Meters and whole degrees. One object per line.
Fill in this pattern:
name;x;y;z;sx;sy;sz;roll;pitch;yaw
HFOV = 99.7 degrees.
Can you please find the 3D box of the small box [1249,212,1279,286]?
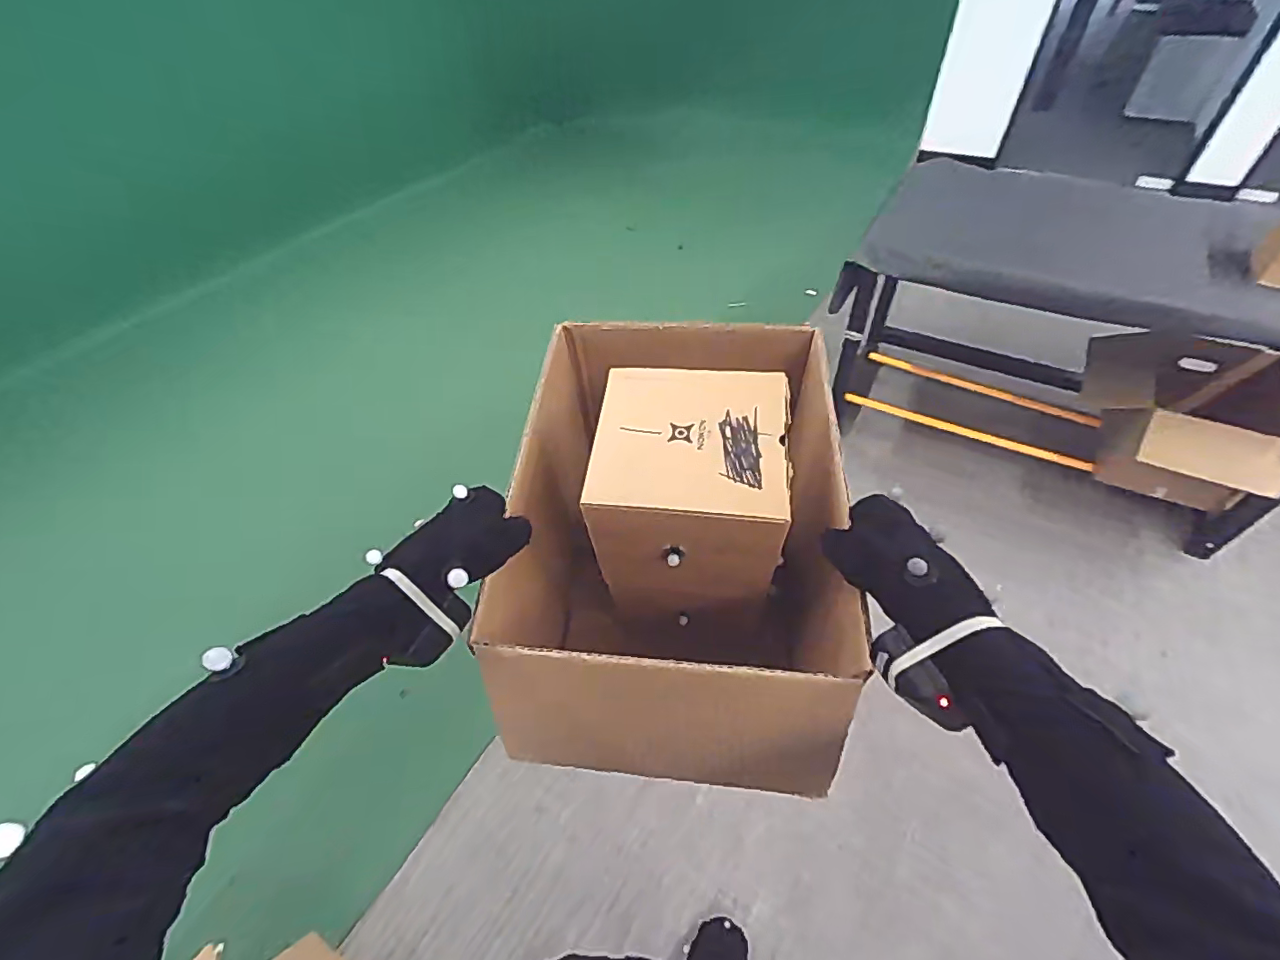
small box;1.526;-0.539;1.207;0.168;0.176;0.179;24;56;23
